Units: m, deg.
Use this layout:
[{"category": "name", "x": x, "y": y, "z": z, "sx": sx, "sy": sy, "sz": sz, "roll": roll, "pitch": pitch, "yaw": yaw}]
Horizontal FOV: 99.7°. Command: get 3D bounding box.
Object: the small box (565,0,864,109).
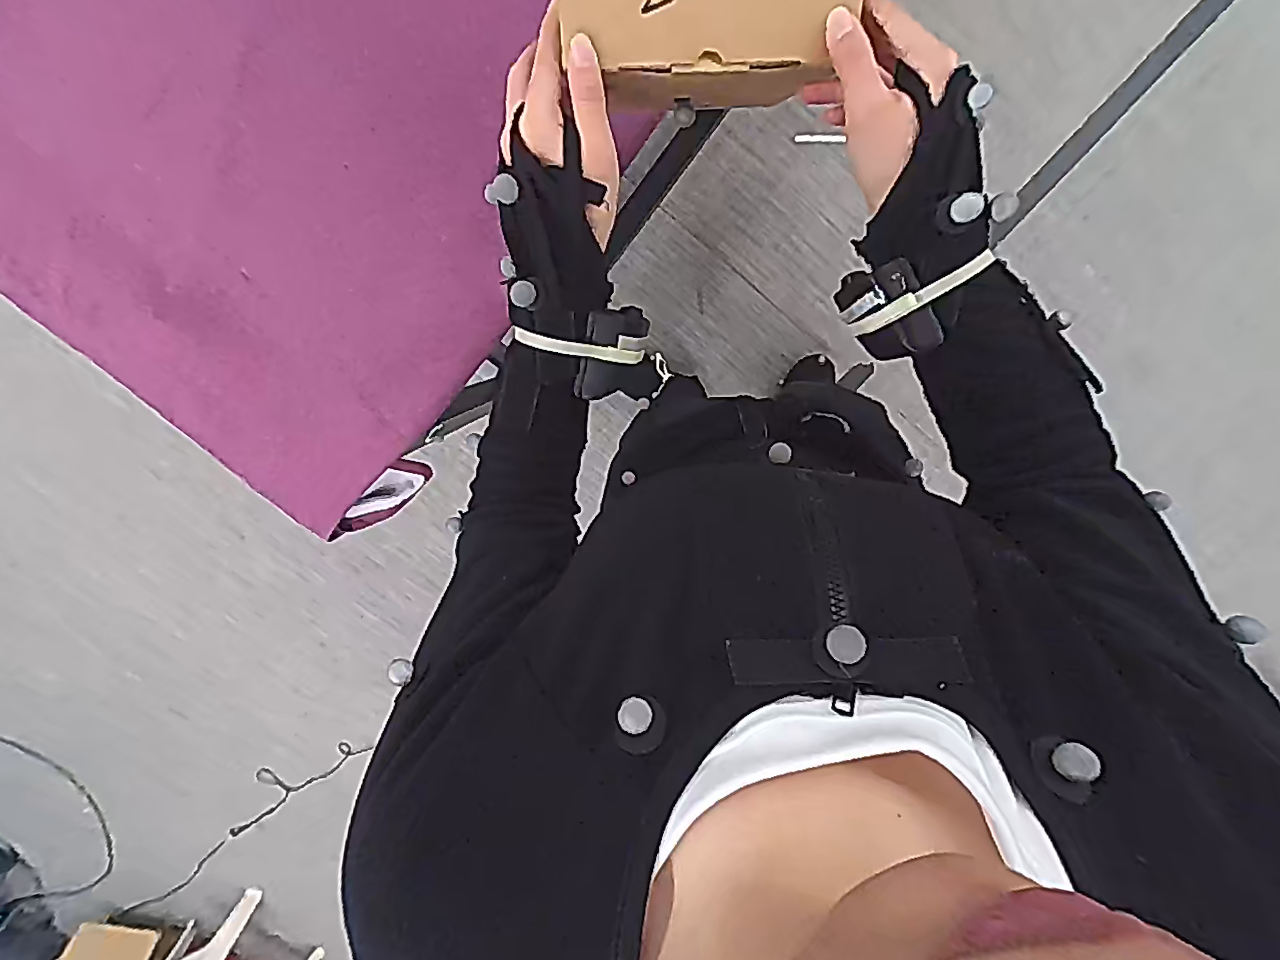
[{"category": "small box", "x": 0.035, "y": -0.349, "z": 0.335, "sx": 0.168, "sy": 0.176, "sz": 0.179, "roll": -3, "pitch": 118, "yaw": -2}]
